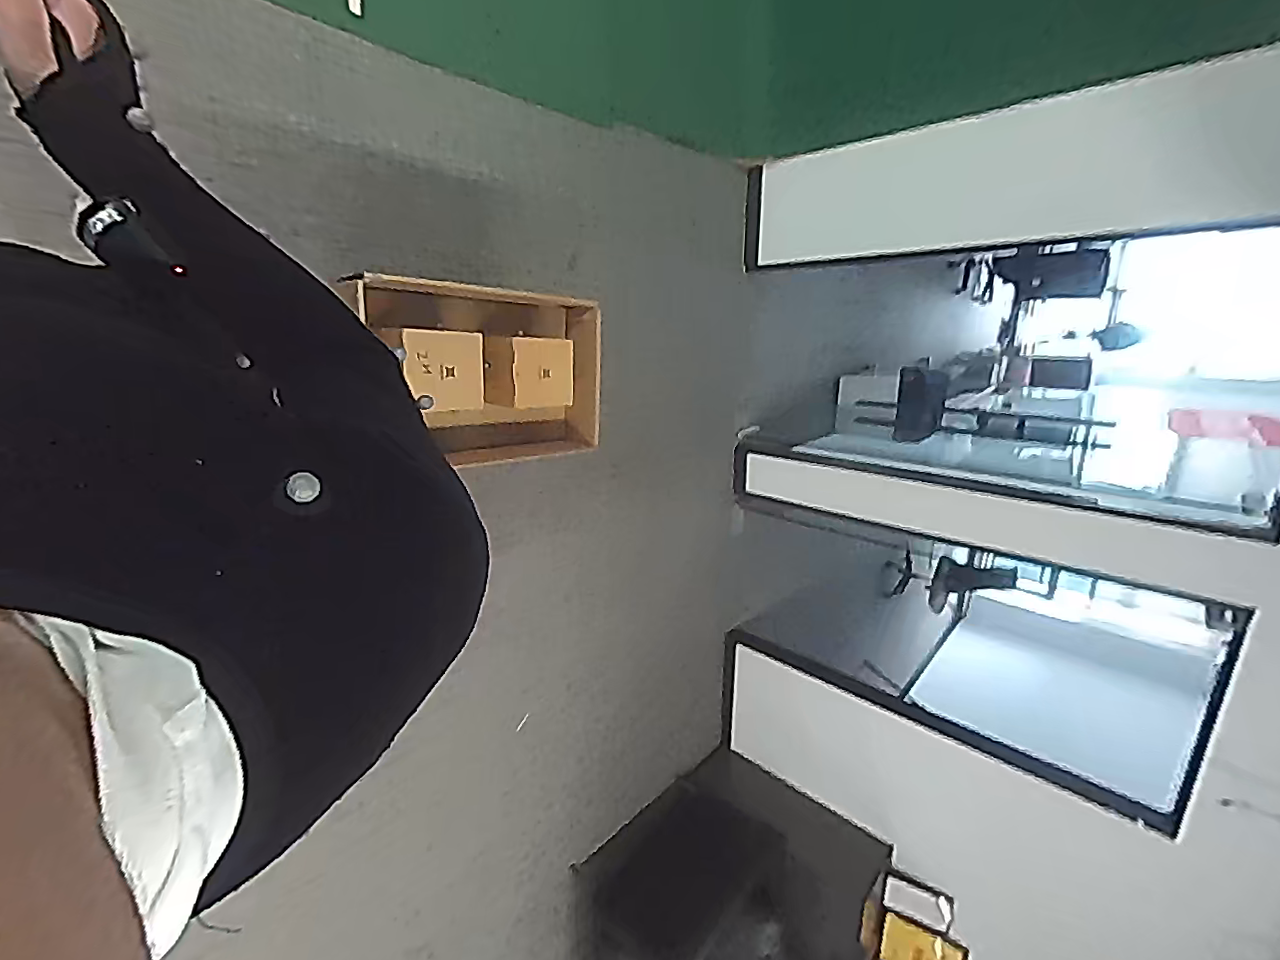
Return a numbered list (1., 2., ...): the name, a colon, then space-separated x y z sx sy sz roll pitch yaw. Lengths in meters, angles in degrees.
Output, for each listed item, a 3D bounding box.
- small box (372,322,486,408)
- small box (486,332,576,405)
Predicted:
1. small box: -0.453 -0.249 1.168 0.179 0.176 0.168 -11 109 -46
2. small box: -0.280 -0.282 1.353 0.179 0.176 0.168 -12 110 -44
